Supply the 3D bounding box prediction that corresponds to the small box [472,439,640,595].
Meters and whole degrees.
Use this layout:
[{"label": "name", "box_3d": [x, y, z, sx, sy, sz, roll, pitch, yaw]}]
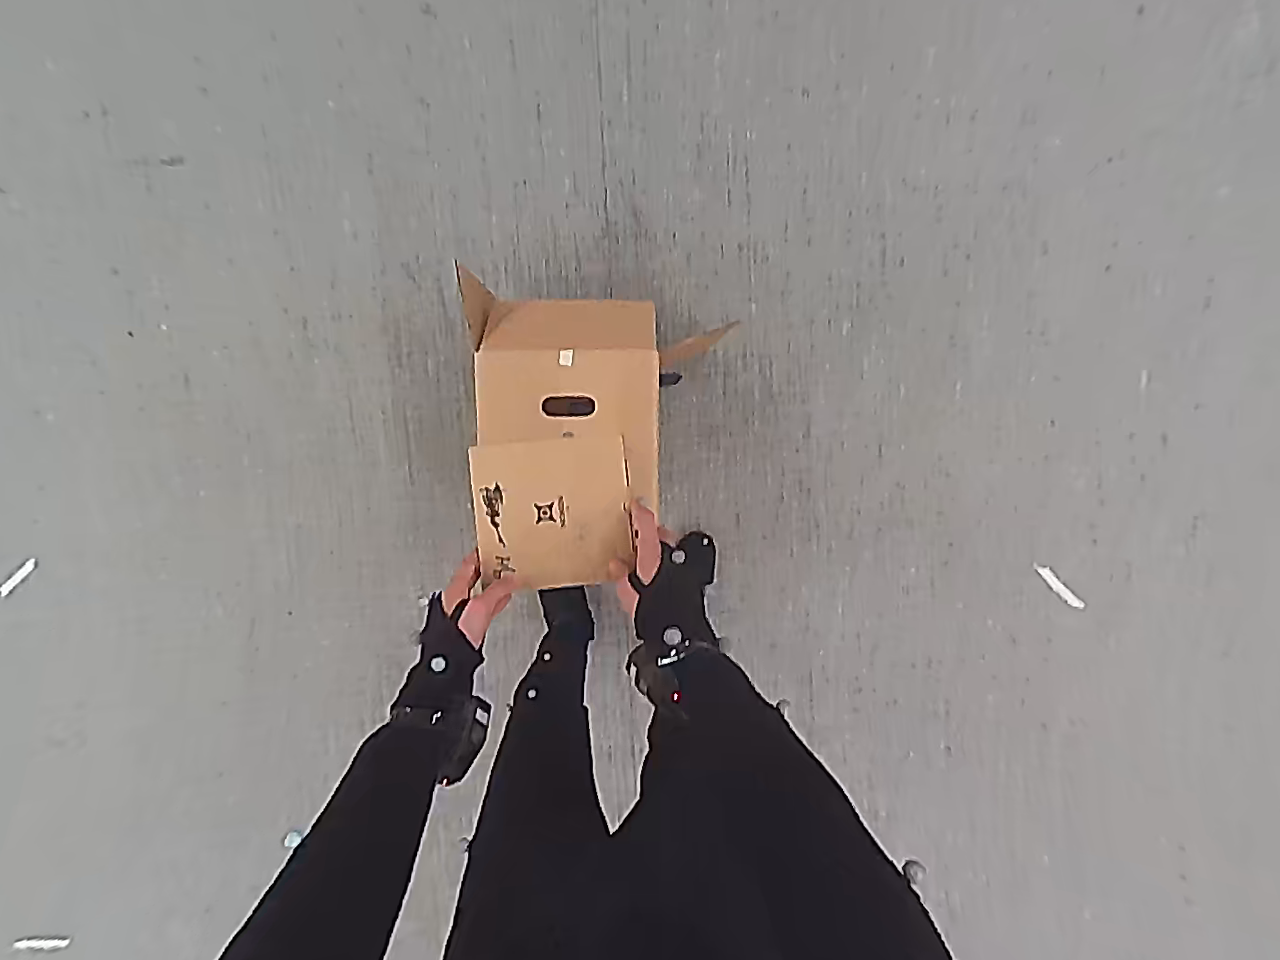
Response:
[{"label": "small box", "box_3d": [-0.094, 0.040, 0.676, 0.179, 0.176, 0.168, -5, 90, 0]}]
